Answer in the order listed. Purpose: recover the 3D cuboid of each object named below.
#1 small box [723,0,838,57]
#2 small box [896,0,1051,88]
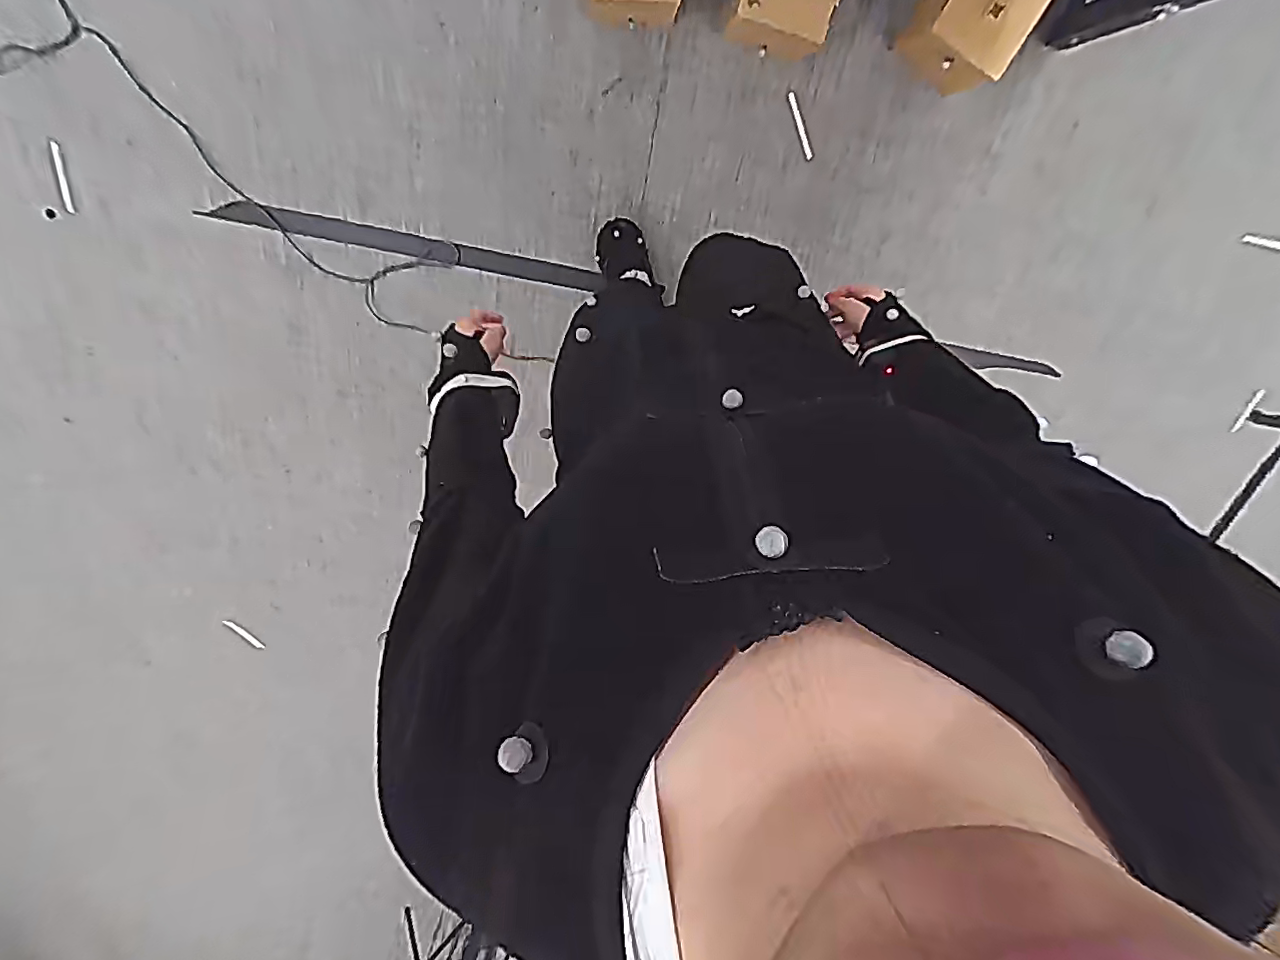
[{"bbox_3d":[0.277,-0.943,1.034,0.179,0.176,0.168,12,117,-9],"label":"small box"},{"bbox_3d":[0.655,-0.914,1.071,0.179,0.176,0.168,24,114,-14],"label":"small box"}]
